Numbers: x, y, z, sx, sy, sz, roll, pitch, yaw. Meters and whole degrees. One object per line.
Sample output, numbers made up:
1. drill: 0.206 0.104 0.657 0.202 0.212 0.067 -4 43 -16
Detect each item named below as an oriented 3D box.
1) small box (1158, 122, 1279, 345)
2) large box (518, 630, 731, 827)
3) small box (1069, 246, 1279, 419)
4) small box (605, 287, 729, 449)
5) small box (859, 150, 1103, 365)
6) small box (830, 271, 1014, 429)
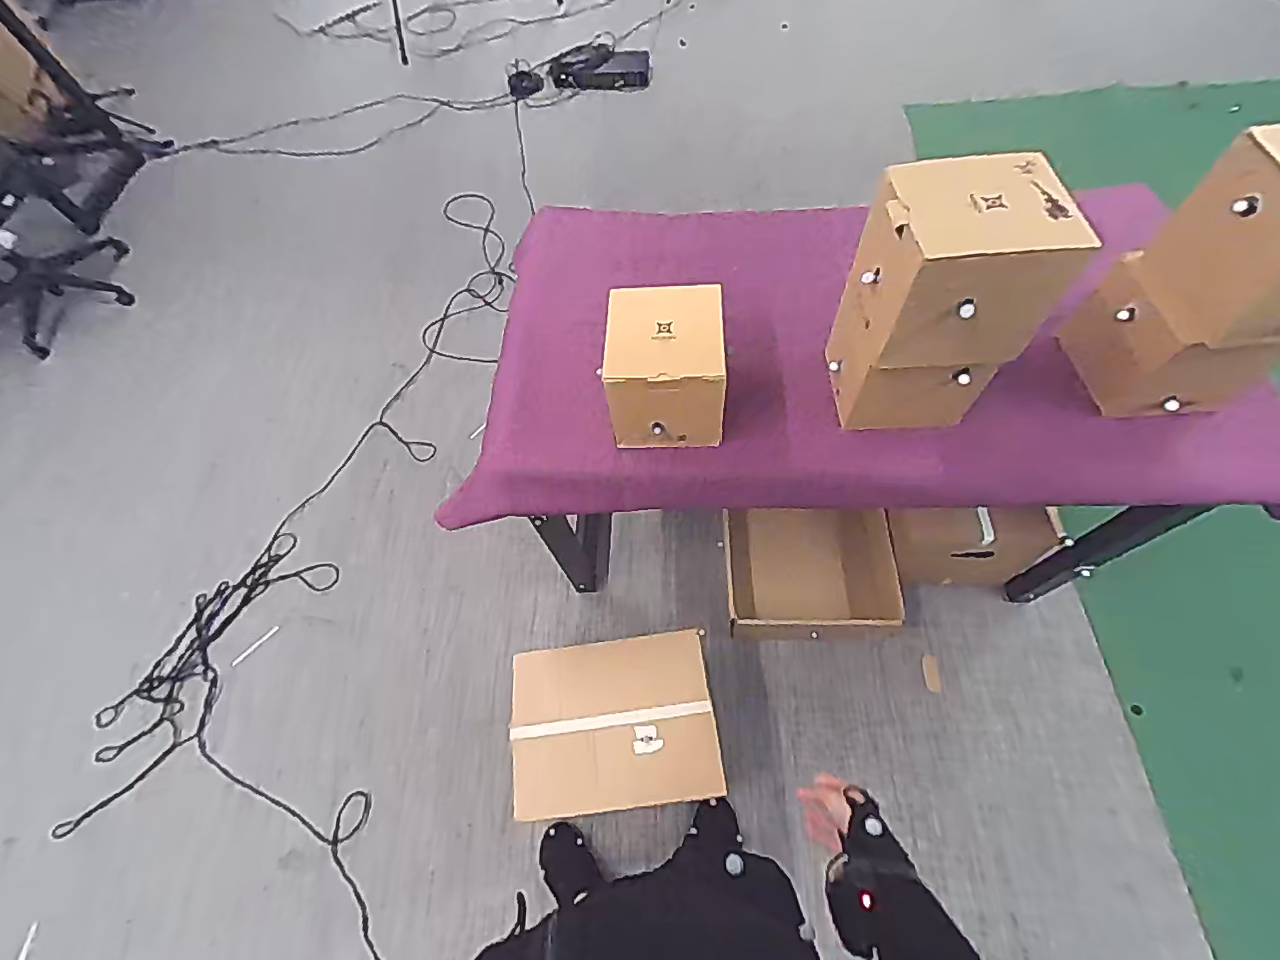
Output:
1. small box: 0.758 -0.279 0.610 0.168 0.176 0.179 -4 60 6
2. large box: -0.033 0.552 1.193 0.408 0.320 0.320 -8 60 1
3. small box: 0.759 -0.208 0.759 0.168 0.176 0.179 -4 60 6
4. small box: 0.044 -0.165 0.819 0.168 0.176 0.179 -1 61 5
5. small box: 0.373 -0.252 0.640 0.179 0.176 0.168 -3 60 5
6. small box: 0.394 -0.188 0.790 0.179 0.176 0.168 -3 60 6
